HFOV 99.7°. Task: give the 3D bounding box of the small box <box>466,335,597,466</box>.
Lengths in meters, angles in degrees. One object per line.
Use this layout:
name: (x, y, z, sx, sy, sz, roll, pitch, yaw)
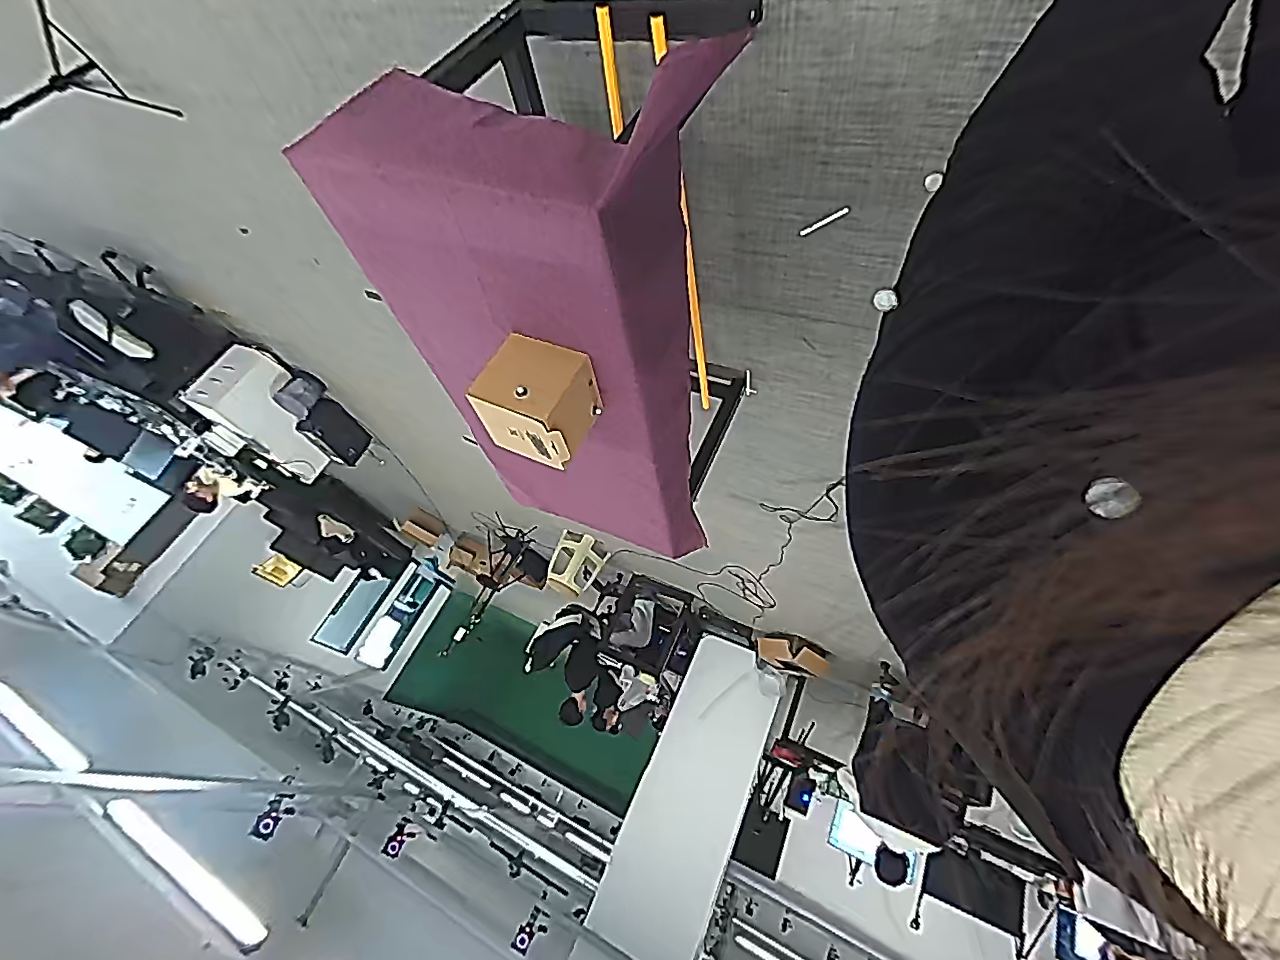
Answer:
small box: (-0.199, -0.159, 1.059, 0.179, 0.176, 0.168, 21, 155, 18)
